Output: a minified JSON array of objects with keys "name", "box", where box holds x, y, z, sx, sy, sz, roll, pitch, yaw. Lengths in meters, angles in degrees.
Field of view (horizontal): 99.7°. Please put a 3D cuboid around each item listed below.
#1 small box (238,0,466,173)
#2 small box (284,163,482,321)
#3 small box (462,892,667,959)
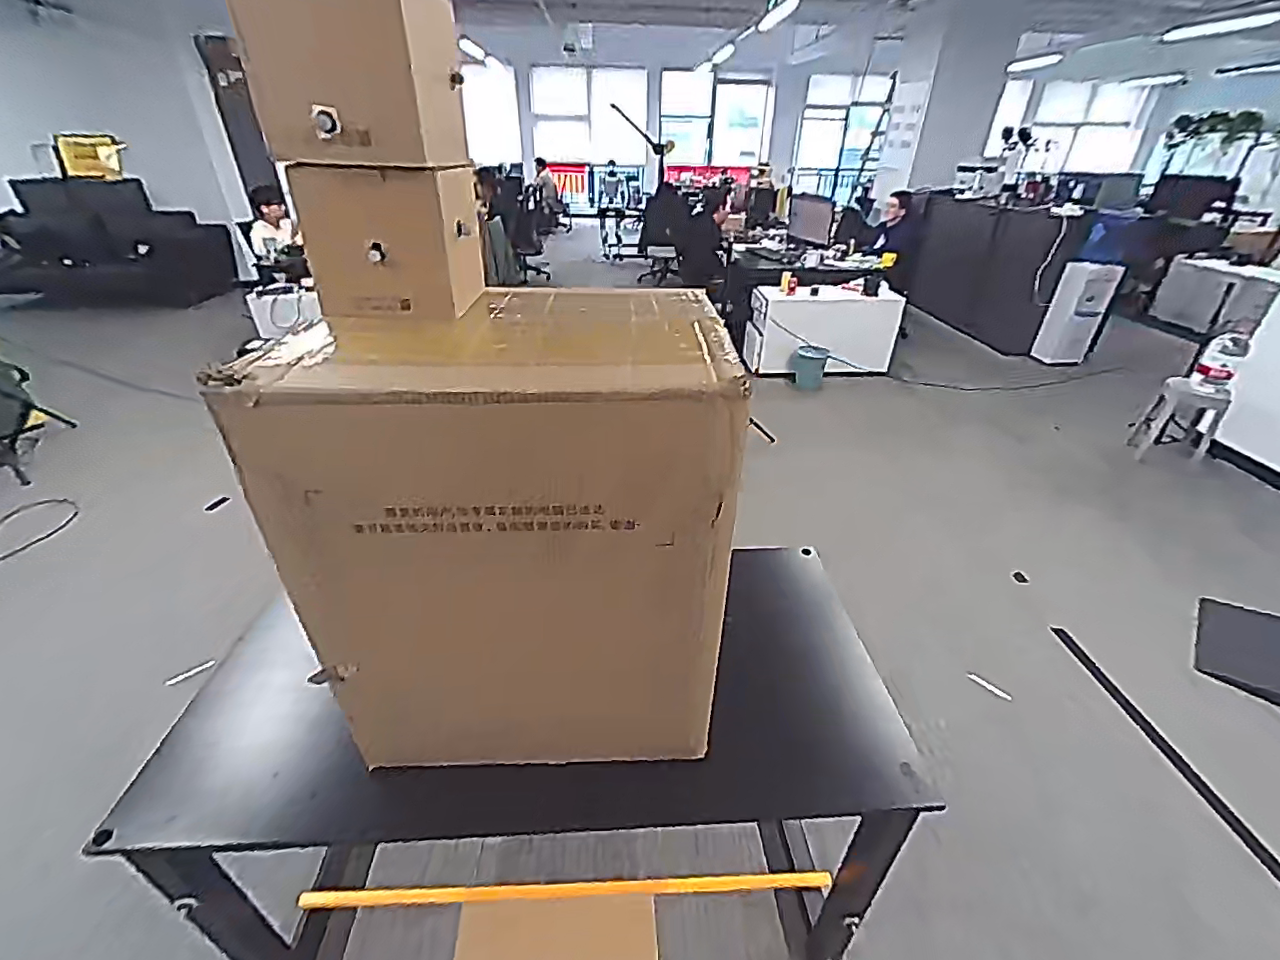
[{"name":"small box","box":[-0.300,-0.441,0.596,0.168,0.176,0.179,0,31,-1]},{"name":"small box","box":[-0.307,-0.309,0.694,0.168,0.176,0.179,0,32,-3]},{"name":"small box","box":[-0.060,0.472,0.436,0.168,0.176,0.179,-1,34,-4]}]
